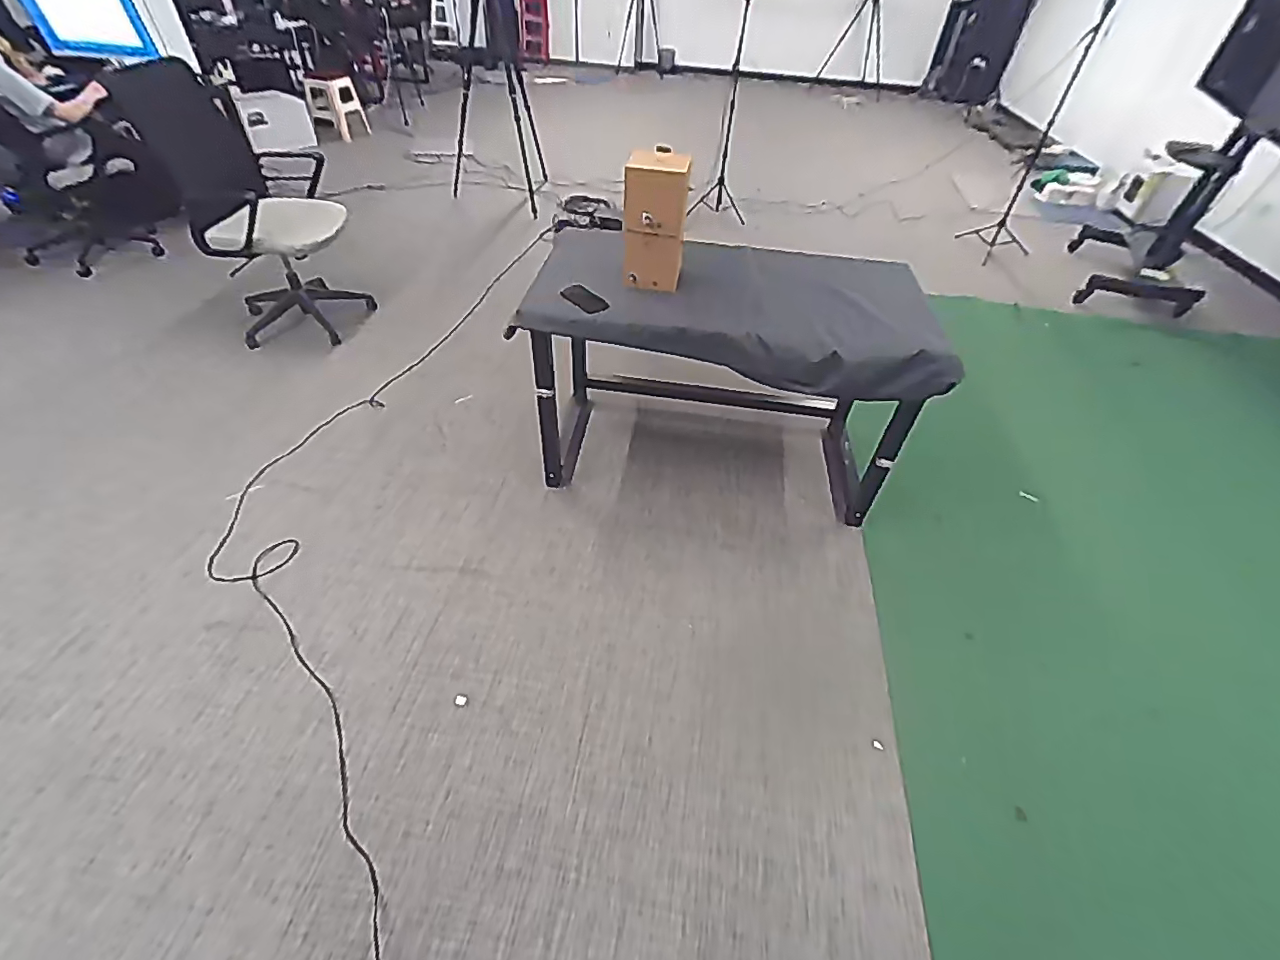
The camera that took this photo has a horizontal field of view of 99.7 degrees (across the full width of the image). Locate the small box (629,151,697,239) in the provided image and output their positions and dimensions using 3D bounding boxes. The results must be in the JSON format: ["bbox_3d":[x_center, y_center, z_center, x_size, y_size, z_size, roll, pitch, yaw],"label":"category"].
[{"bbox_3d":[0.063,-0.806,1.528,0.168,0.176,0.179,8,46,4],"label":"small box"}]

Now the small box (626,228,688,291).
[{"bbox_3d":[0.053,-0.695,1.646,0.168,0.176,0.179,9,44,4],"label":"small box"}]
